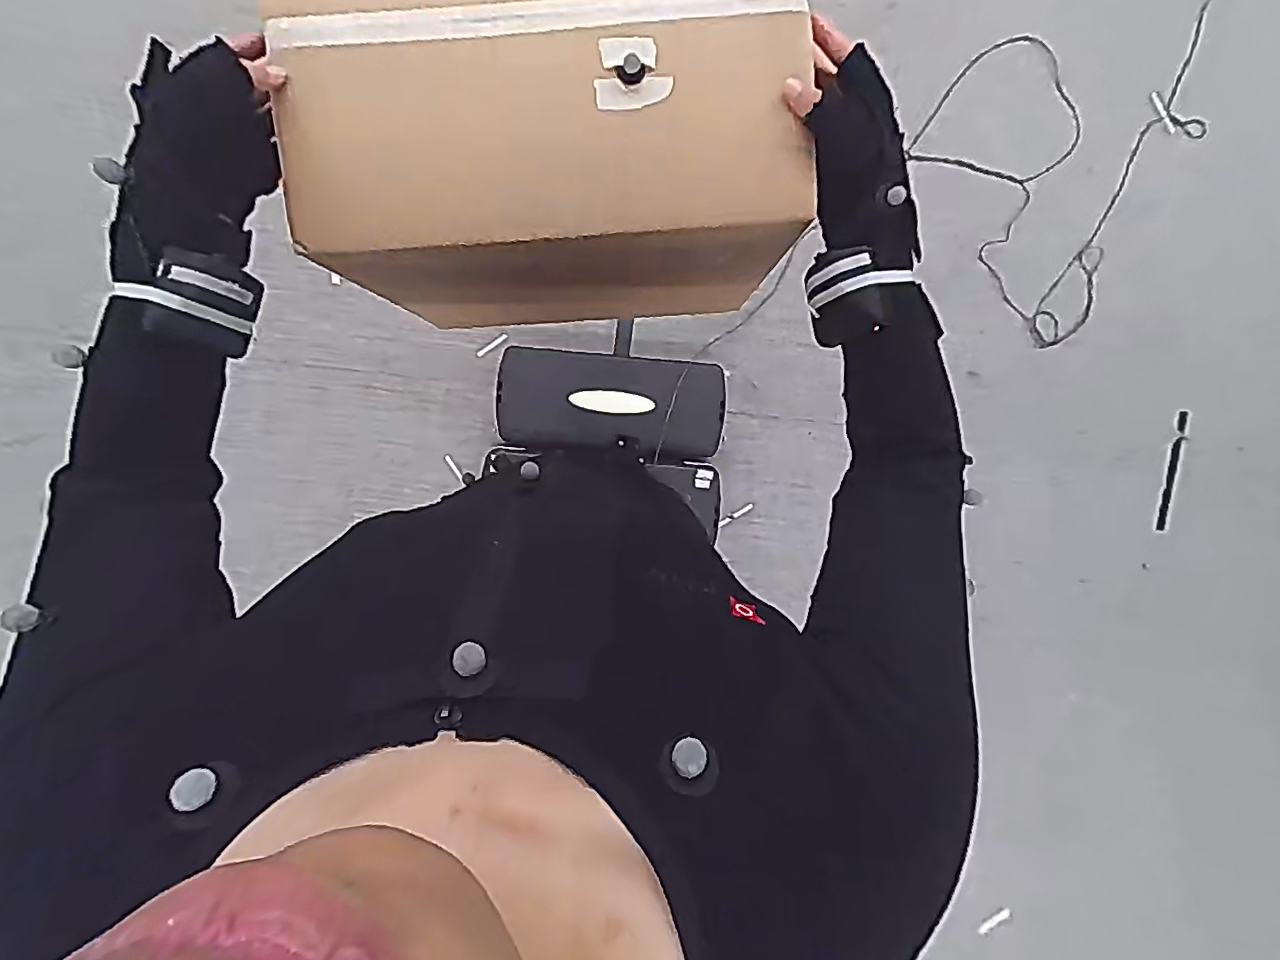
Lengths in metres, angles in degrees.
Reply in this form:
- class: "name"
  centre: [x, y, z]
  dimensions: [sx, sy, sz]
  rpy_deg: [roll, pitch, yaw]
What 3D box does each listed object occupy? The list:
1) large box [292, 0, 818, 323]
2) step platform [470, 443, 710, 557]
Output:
- class: "large box"
  centre: [-0.071, -0.363, 0.565]
  dimensions: [0.408, 0.320, 0.320]
  rpy_deg: [-4, 96, -1]
- class: "step platform"
  centre: [-0.139, 0.059, 1.580]
  dimensions: [0.684, 0.204, 0.286]
  rpy_deg: [4, 93, -3]
